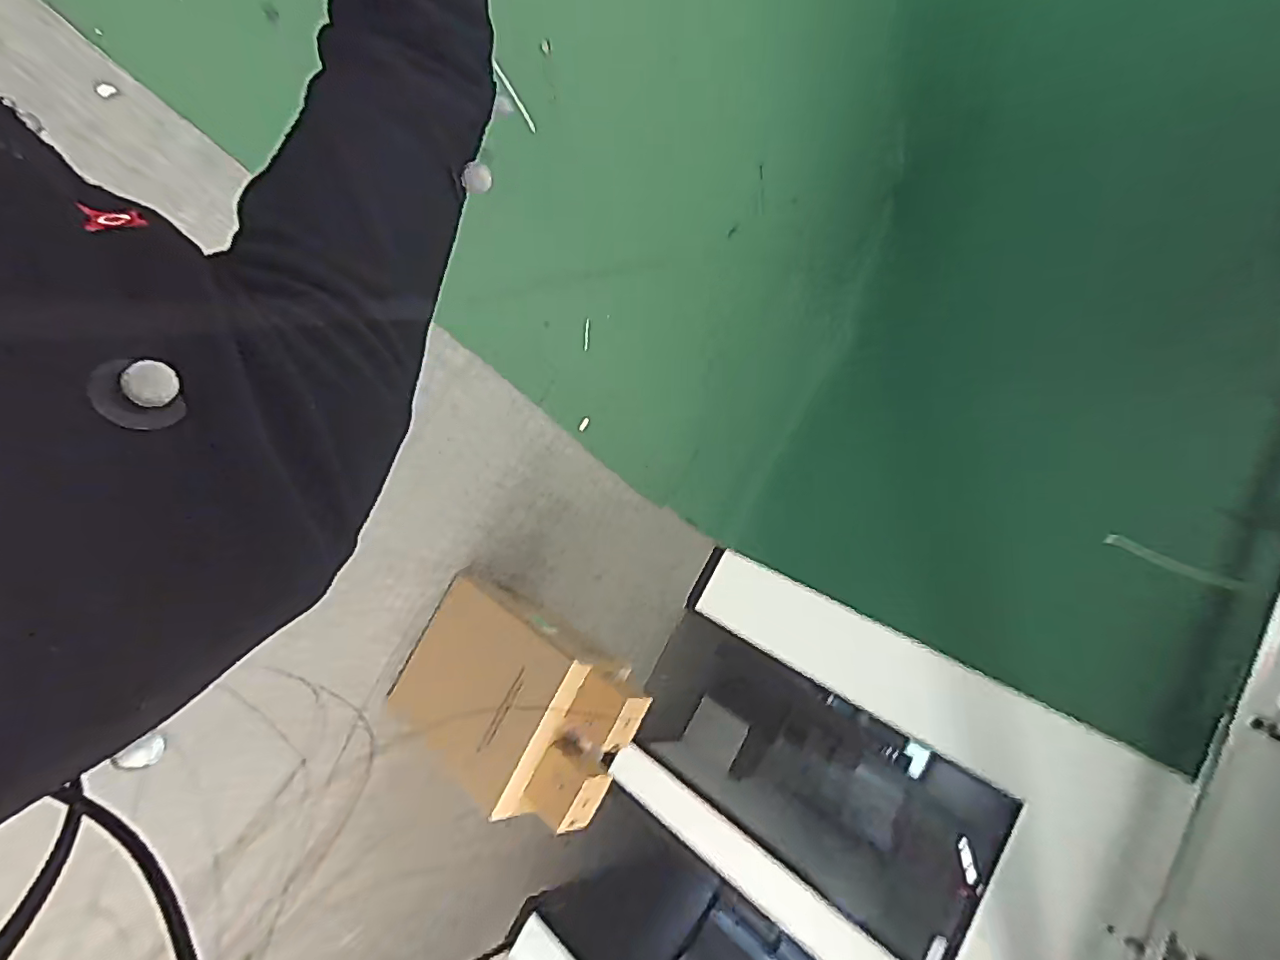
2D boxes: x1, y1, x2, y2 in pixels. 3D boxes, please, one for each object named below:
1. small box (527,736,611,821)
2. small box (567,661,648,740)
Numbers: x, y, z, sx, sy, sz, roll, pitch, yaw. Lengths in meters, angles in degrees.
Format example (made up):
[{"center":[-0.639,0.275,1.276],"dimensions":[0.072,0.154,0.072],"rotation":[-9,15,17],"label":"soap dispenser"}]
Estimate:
[{"center":[-0.232,0.946,1.733],"dimensions":[0.179,0.176,0.168],"rotation":[-61,144,-7],"label":"small box"},{"center":[-0.111,0.716,1.760],"dimensions":[0.168,0.176,0.179],"rotation":[34,81,-55],"label":"small box"}]
